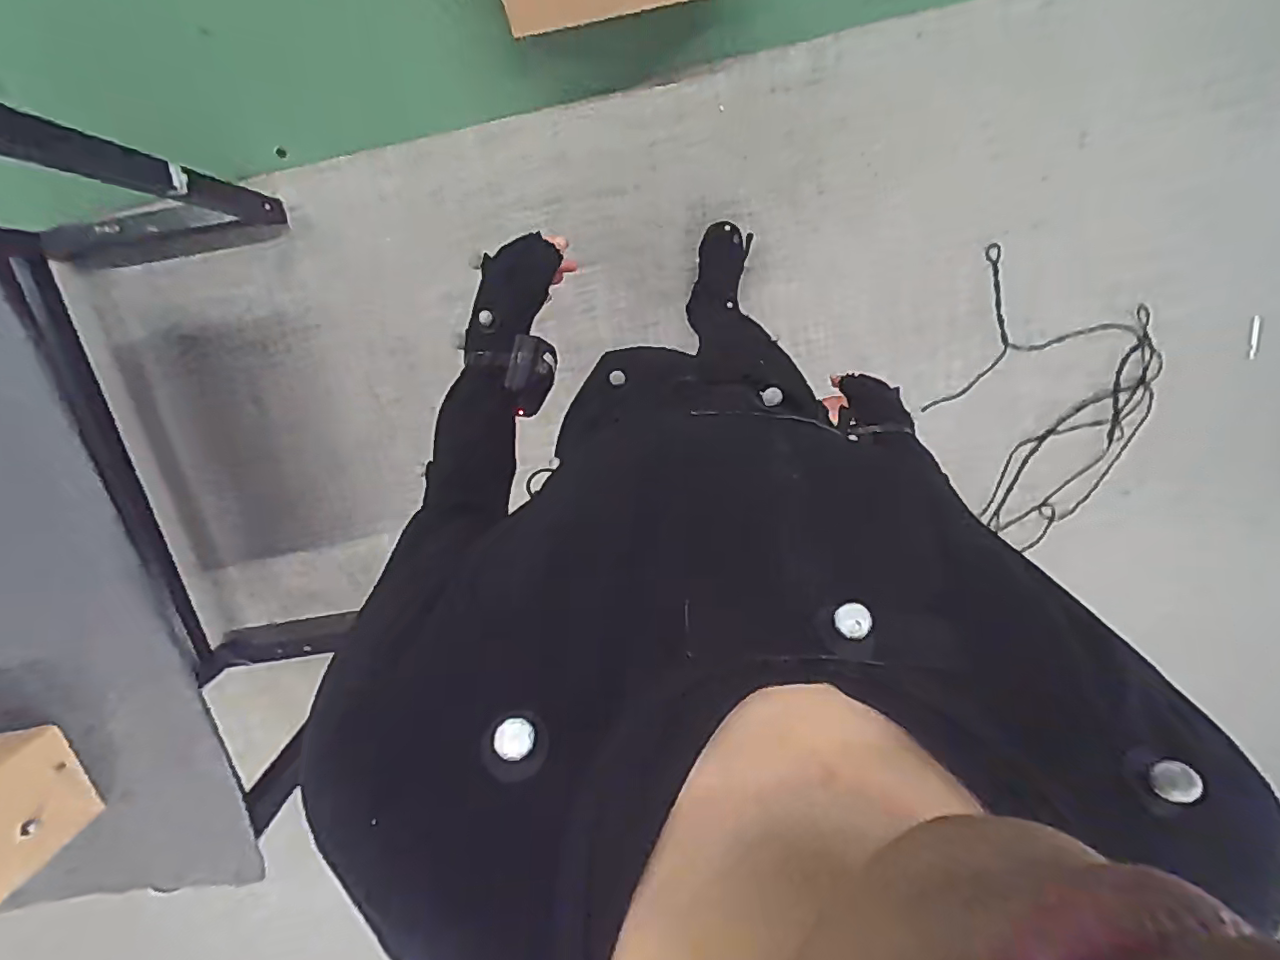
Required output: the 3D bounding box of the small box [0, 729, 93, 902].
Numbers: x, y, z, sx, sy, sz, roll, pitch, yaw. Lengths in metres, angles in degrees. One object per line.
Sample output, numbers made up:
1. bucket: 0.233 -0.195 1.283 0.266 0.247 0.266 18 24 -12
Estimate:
1. small box: -0.956 0.485 0.774 0.179 0.176 0.168 -11 106 4
